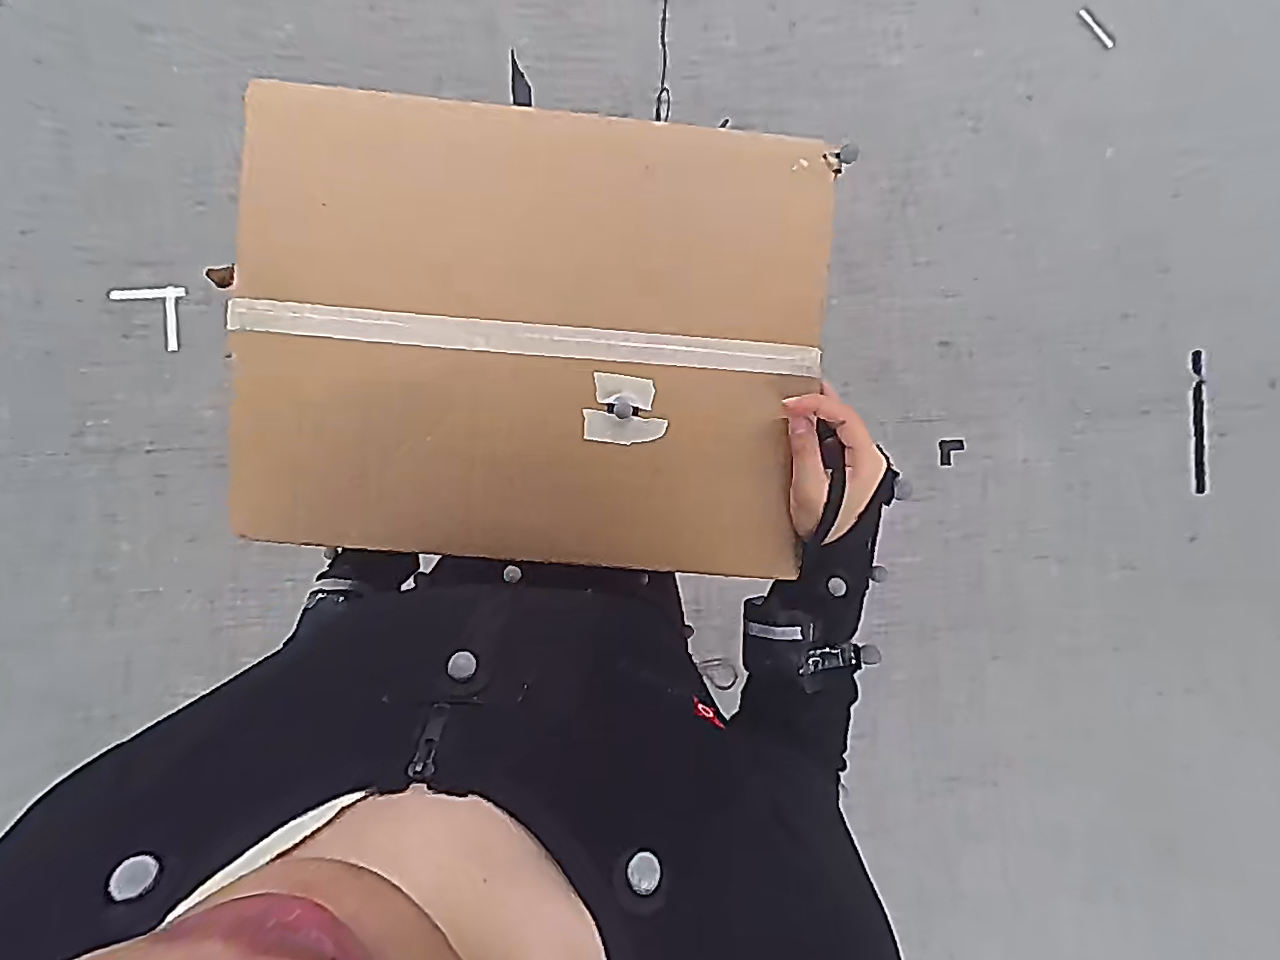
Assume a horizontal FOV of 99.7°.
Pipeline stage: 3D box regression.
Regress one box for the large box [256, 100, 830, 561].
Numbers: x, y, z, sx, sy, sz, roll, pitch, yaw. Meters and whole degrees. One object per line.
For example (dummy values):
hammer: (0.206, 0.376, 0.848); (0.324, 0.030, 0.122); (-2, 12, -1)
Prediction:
large box: (-0.076, -0.107, 0.537); (0.408, 0.320, 0.320); (4, 93, -3)
